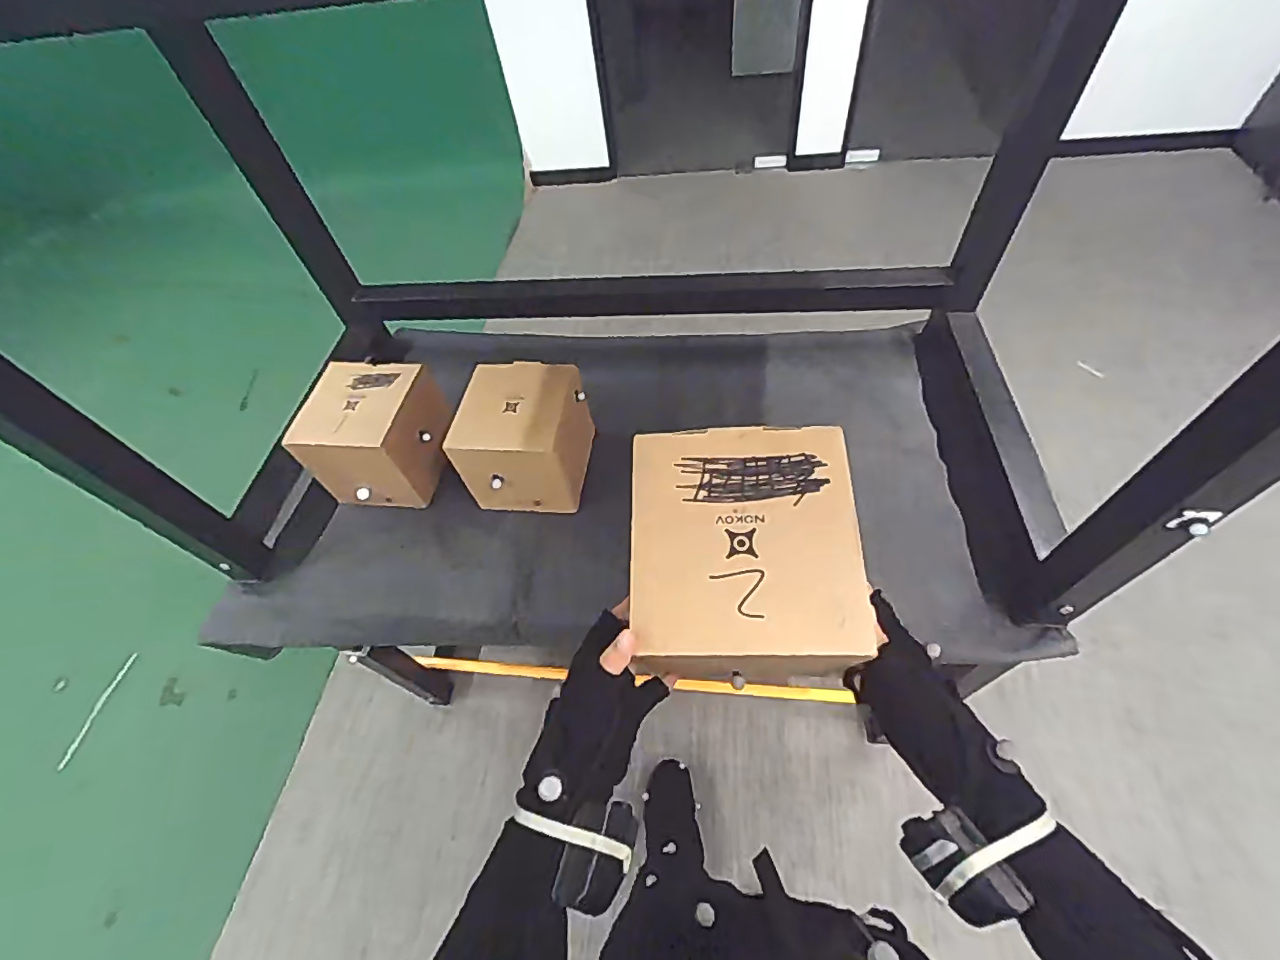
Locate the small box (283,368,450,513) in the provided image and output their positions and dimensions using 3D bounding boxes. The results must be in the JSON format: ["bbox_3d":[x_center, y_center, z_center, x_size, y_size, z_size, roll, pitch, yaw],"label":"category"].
[{"bbox_3d":[-0.434,-0.066,0.903,0.168,0.176,0.179,2,55,9],"label":"small box"}]

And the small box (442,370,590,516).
[{"bbox_3d":[-0.184,-0.056,0.868,0.168,0.176,0.179,2,54,9],"label":"small box"}]
